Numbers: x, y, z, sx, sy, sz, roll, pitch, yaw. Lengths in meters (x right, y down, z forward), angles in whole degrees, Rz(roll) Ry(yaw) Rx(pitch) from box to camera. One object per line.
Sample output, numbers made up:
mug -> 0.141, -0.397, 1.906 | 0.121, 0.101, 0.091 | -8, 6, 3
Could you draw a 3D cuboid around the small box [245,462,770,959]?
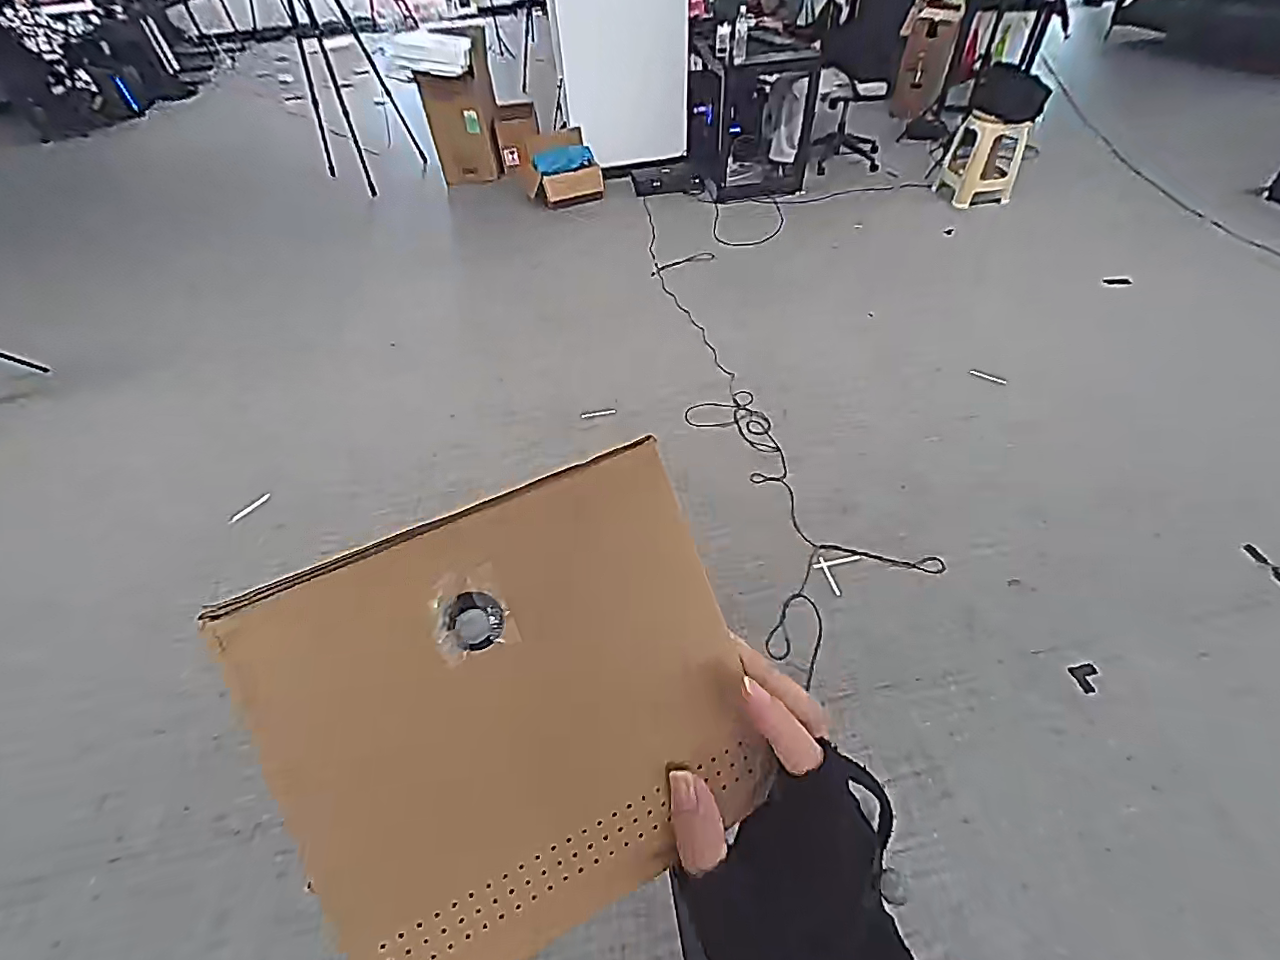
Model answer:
small box -> -0.059, 0.104, 0.301 | 0.179, 0.168, 0.176 | -22, 93, -13
